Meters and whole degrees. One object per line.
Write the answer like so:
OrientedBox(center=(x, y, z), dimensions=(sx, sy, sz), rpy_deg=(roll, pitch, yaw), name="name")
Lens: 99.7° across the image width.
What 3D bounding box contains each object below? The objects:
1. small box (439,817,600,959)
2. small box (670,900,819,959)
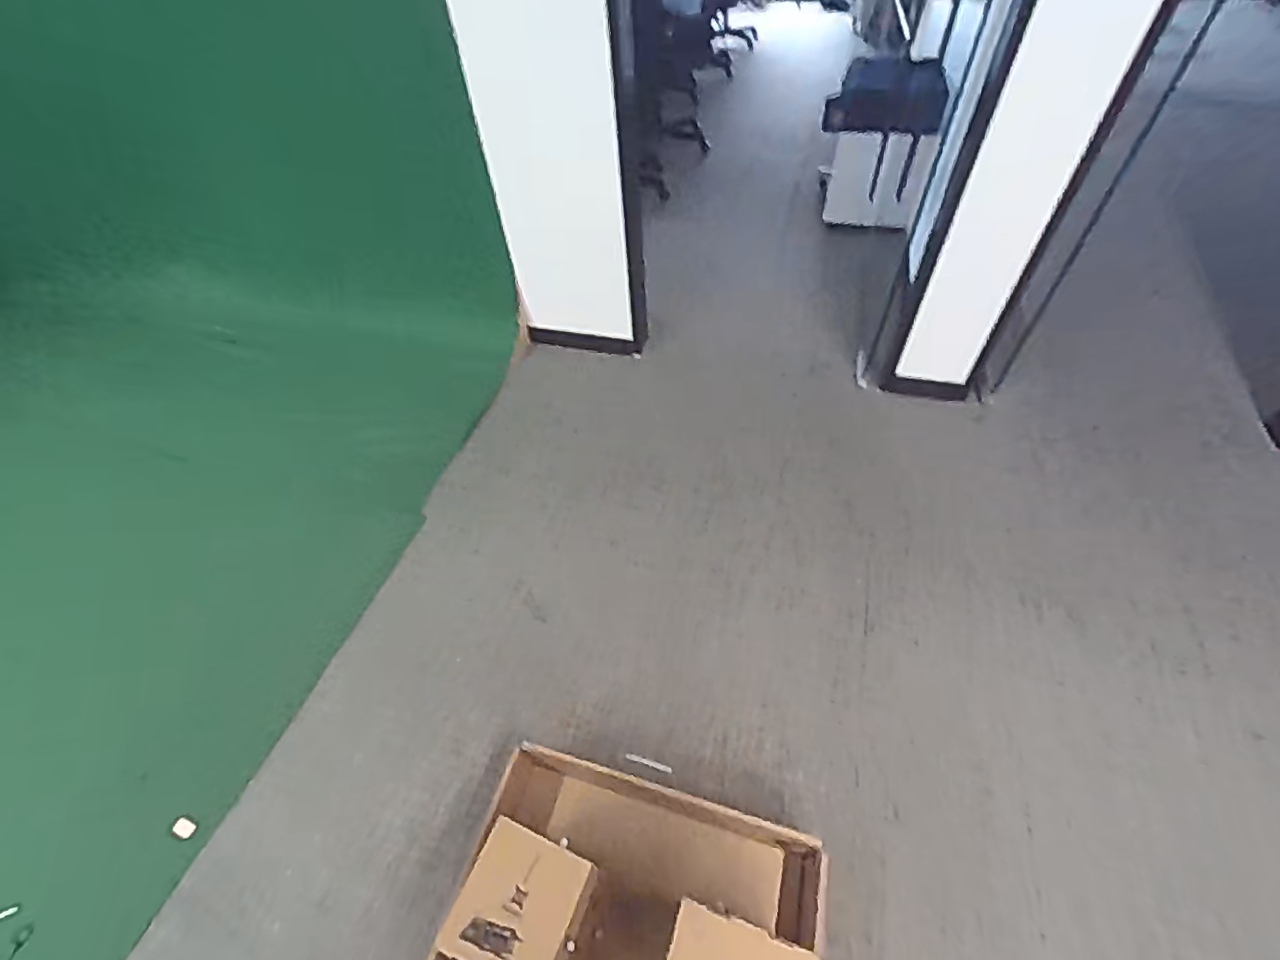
OrientedBox(center=(-0.172, 0.670, 0.846), dimensions=(0.168, 0.176, 0.179), rpy_deg=(17, 52, 17), name="small box")
OrientedBox(center=(0.106, 0.639, 0.641), dimensions=(0.168, 0.176, 0.179), rpy_deg=(13, 52, 16), name="small box")
